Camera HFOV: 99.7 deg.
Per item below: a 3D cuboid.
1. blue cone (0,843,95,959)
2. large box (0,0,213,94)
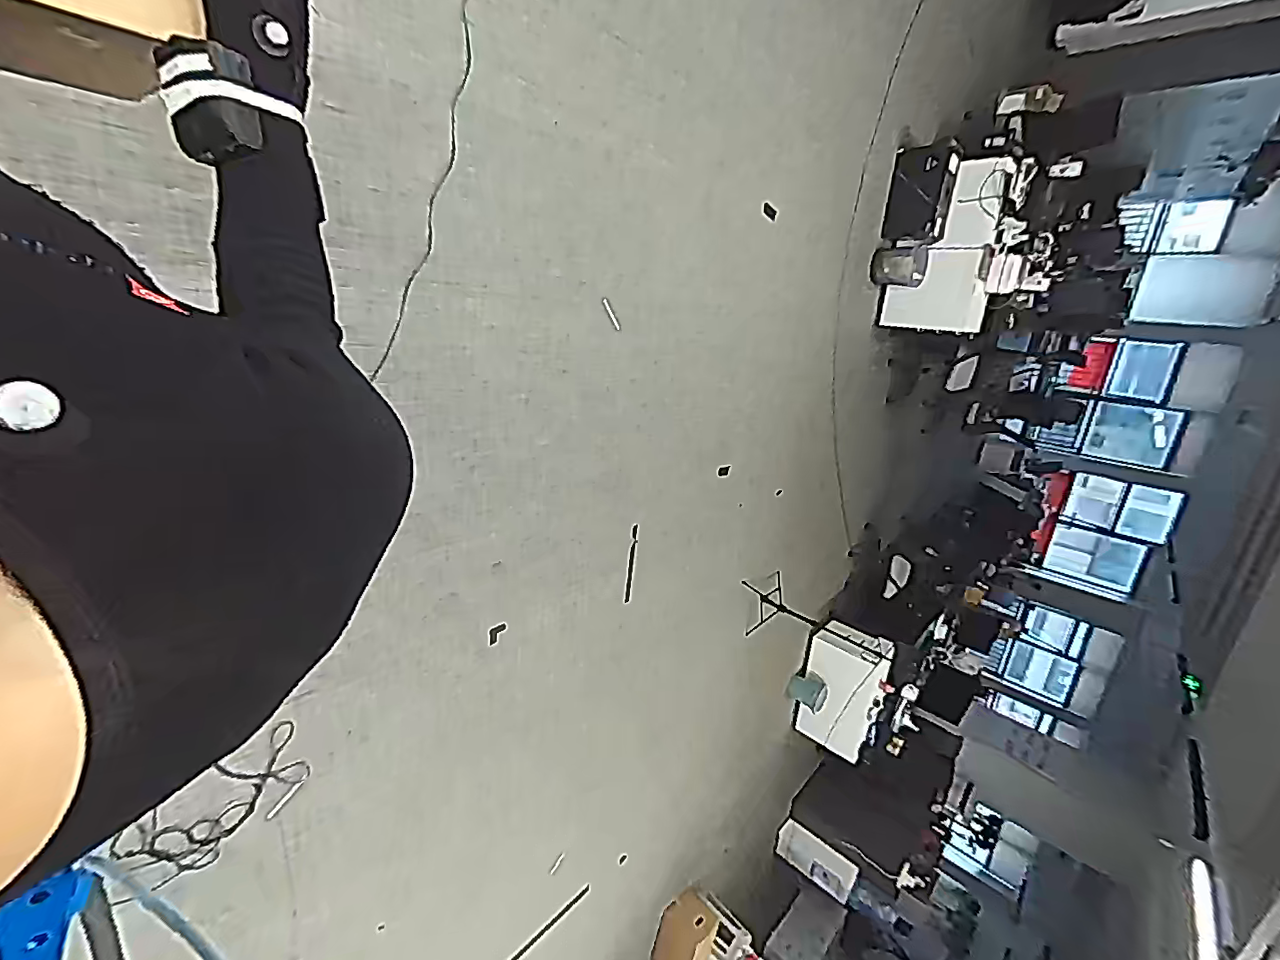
[{"bbox_3d":[-1.251,0.965,1.109,0.193,0.380,0.192,18,92,-50],"label":"blue cone"},{"bbox_3d":[-0.541,-0.463,0.289,0.408,0.320,0.320,-17,121,-47],"label":"large box"}]
